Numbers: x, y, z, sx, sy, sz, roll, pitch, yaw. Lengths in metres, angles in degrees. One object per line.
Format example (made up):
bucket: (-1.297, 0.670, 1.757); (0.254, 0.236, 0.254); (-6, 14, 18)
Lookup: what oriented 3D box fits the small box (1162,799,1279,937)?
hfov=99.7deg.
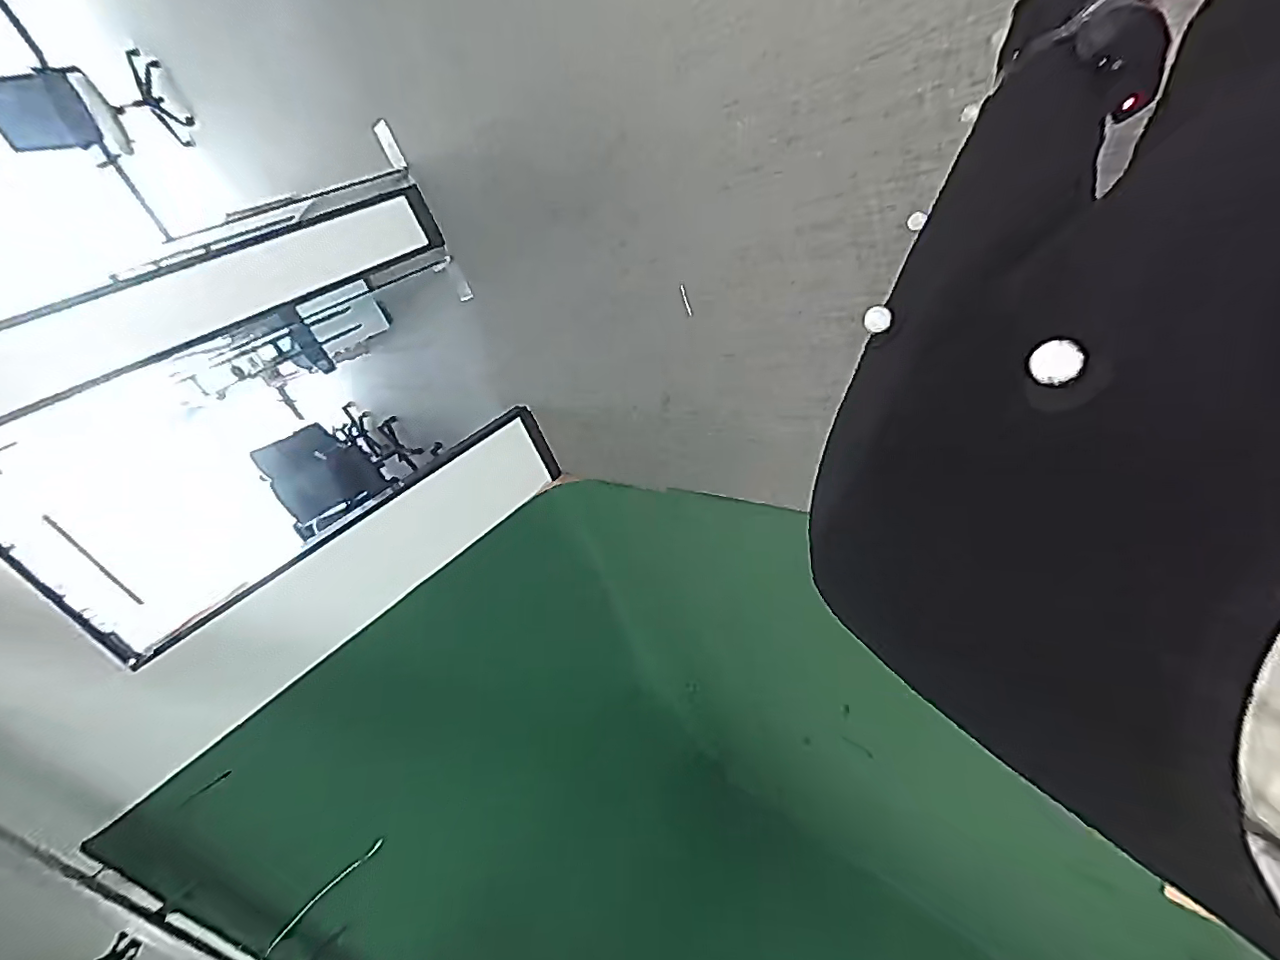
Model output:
small box: (1.343, 0.889, 1.256); (0.168, 0.176, 0.179); (9, 133, 46)
